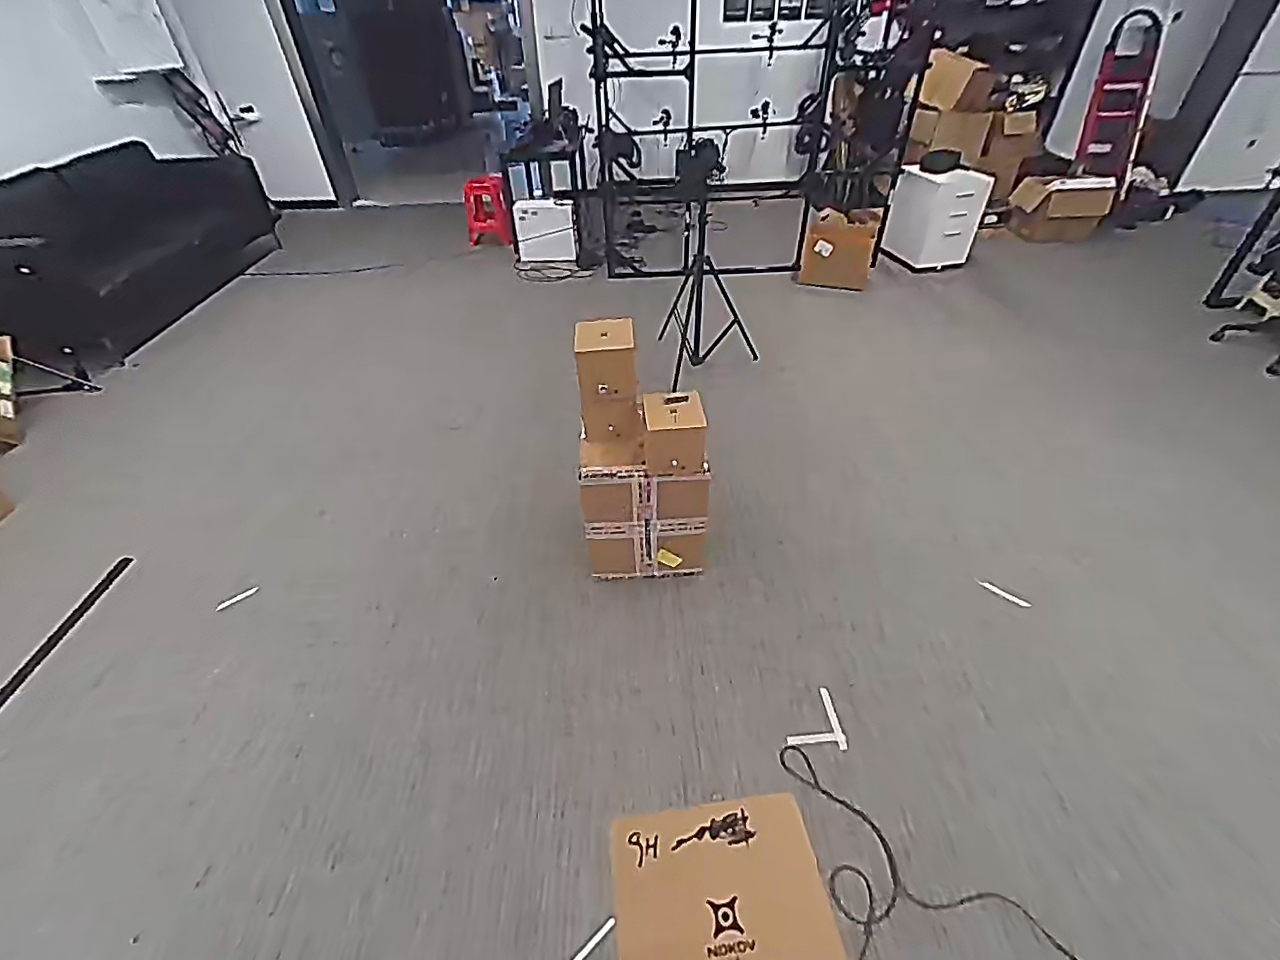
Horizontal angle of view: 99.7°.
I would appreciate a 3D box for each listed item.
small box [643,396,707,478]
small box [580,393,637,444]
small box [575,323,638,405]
[{"bbox_3d":[0.096,-0.127,1.579,0.168,0.176,0.179,-4,44,-2],"label":"small box"},{"bbox_3d":[-0.095,-0.232,1.704,0.168,0.176,0.179,-4,43,0],"label":"small box"},{"bbox_3d":[-0.096,-0.338,1.579,0.168,0.176,0.179,-5,44,0],"label":"small box"}]
